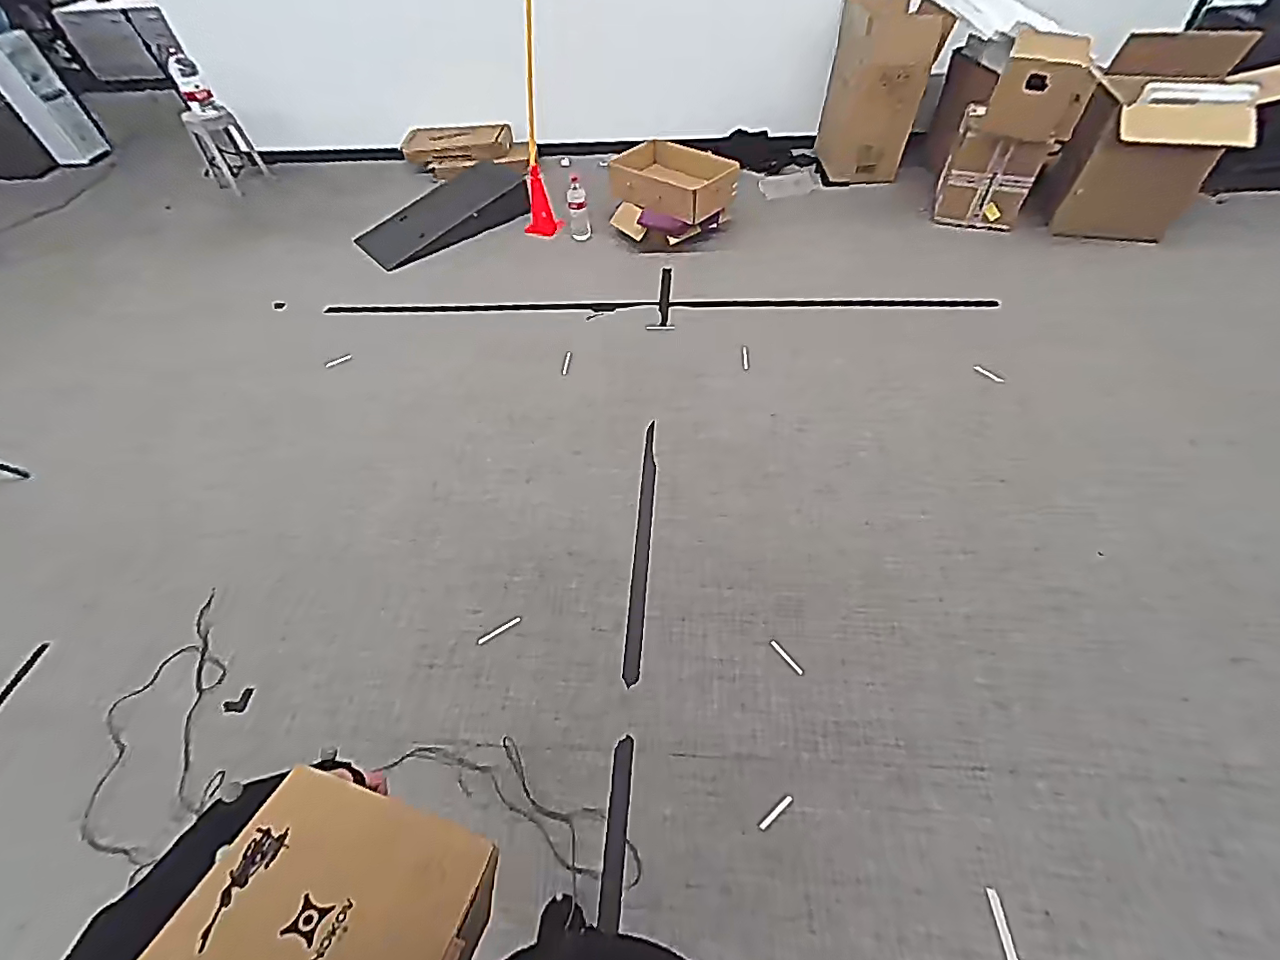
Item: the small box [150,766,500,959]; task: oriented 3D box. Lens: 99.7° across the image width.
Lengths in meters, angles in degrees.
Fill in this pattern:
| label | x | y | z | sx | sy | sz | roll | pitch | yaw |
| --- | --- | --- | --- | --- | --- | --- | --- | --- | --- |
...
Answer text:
| label | x | y | z | sx | sy | sz | roll | pitch | yaw |
| --- | --- | --- | --- | --- | --- | --- | --- | --- | --- |
| small box | -0.226 | 0.362 | 0.409 | 0.179 | 0.176 | 0.168 | 19 | 35 | 5 |
